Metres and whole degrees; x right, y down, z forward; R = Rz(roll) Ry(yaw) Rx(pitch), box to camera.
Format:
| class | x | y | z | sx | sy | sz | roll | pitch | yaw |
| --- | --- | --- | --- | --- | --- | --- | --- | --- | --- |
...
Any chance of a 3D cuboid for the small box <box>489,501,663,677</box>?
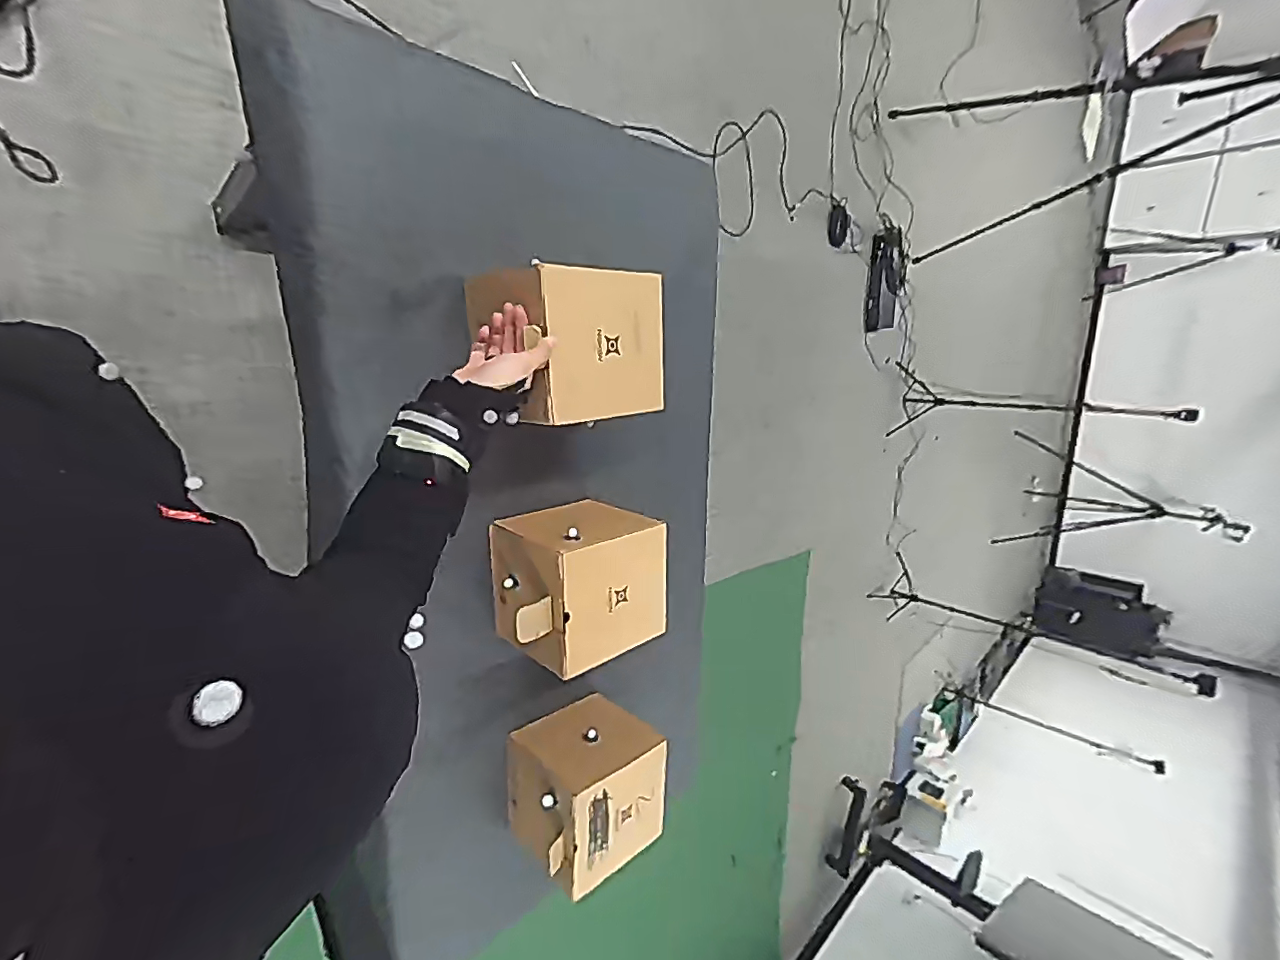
| class | x | y | z | sx | sy | sz | roll | pitch | yaw |
| --- | --- | --- | --- | --- | --- | --- | --- | --- | --- |
| small box | -0.089 | 0.134 | 0.750 | 0.179 | 0.176 | 0.168 | -12 | 108 | -42 |

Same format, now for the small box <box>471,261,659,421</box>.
| class | x | y | z | sx | sy | sz | roll | pitch | yaw |
| --- | --- | --- | --- | --- | --- | --- | --- | --- | --- |
| small box | -0.095 | -0.168 | 0.671 | 0.179 | 0.176 | 0.168 | -15 | 111 | -43 |
